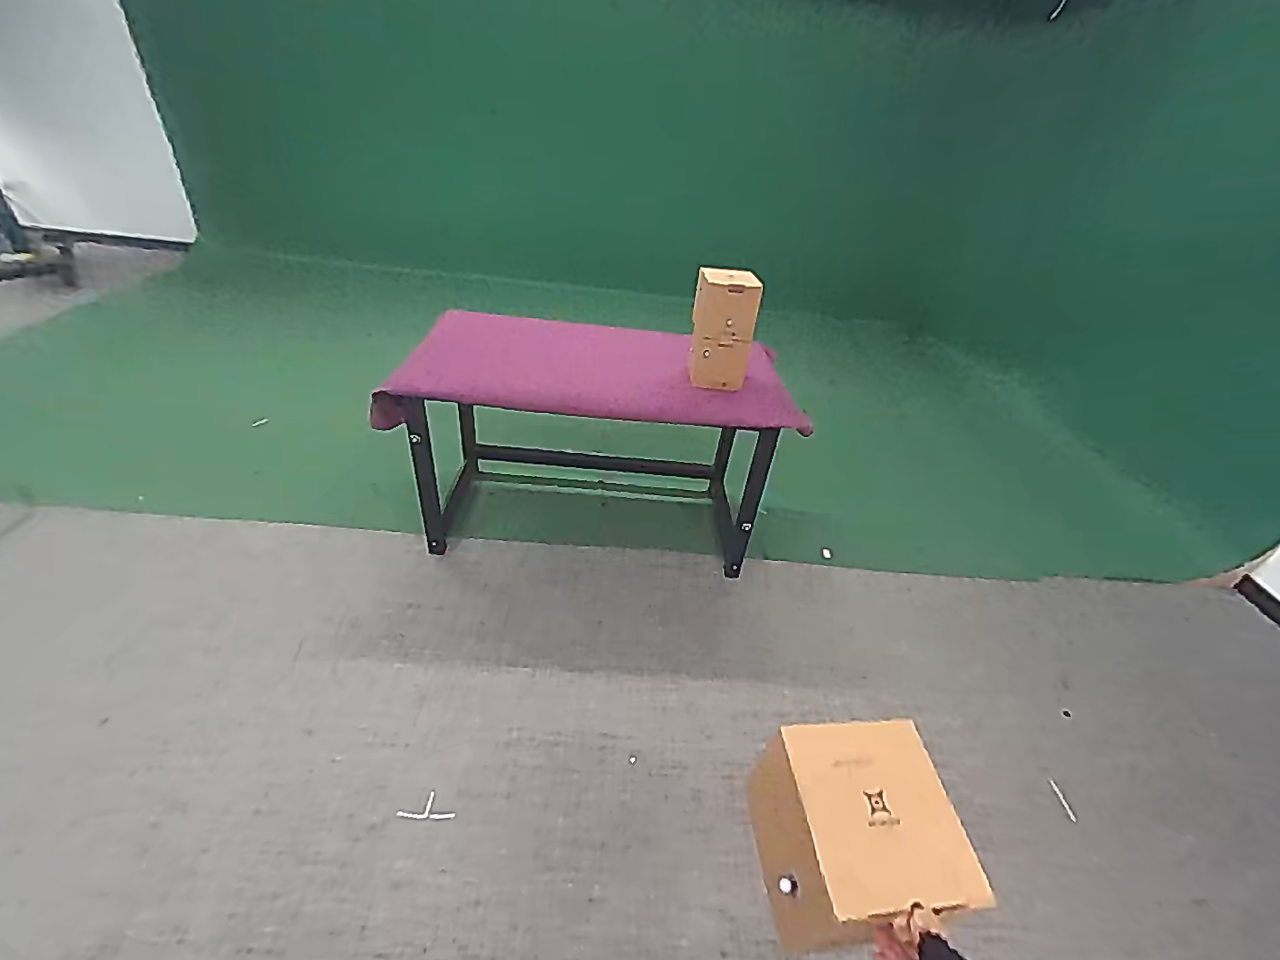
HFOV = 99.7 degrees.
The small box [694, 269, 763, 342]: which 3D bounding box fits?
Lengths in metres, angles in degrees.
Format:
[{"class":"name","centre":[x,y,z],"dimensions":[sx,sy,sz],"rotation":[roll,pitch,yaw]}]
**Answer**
[{"class":"small box","centre":[0.269,-0.546,1.688],"dimensions":[0.168,0.176,0.179],"rotation":[3,36,-6]}]

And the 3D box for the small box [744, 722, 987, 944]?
[{"class":"small box","centre":[0.231,0.397,0.610],"dimensions":[0.168,0.176,0.179],"rotation":[3,41,-9]}]
